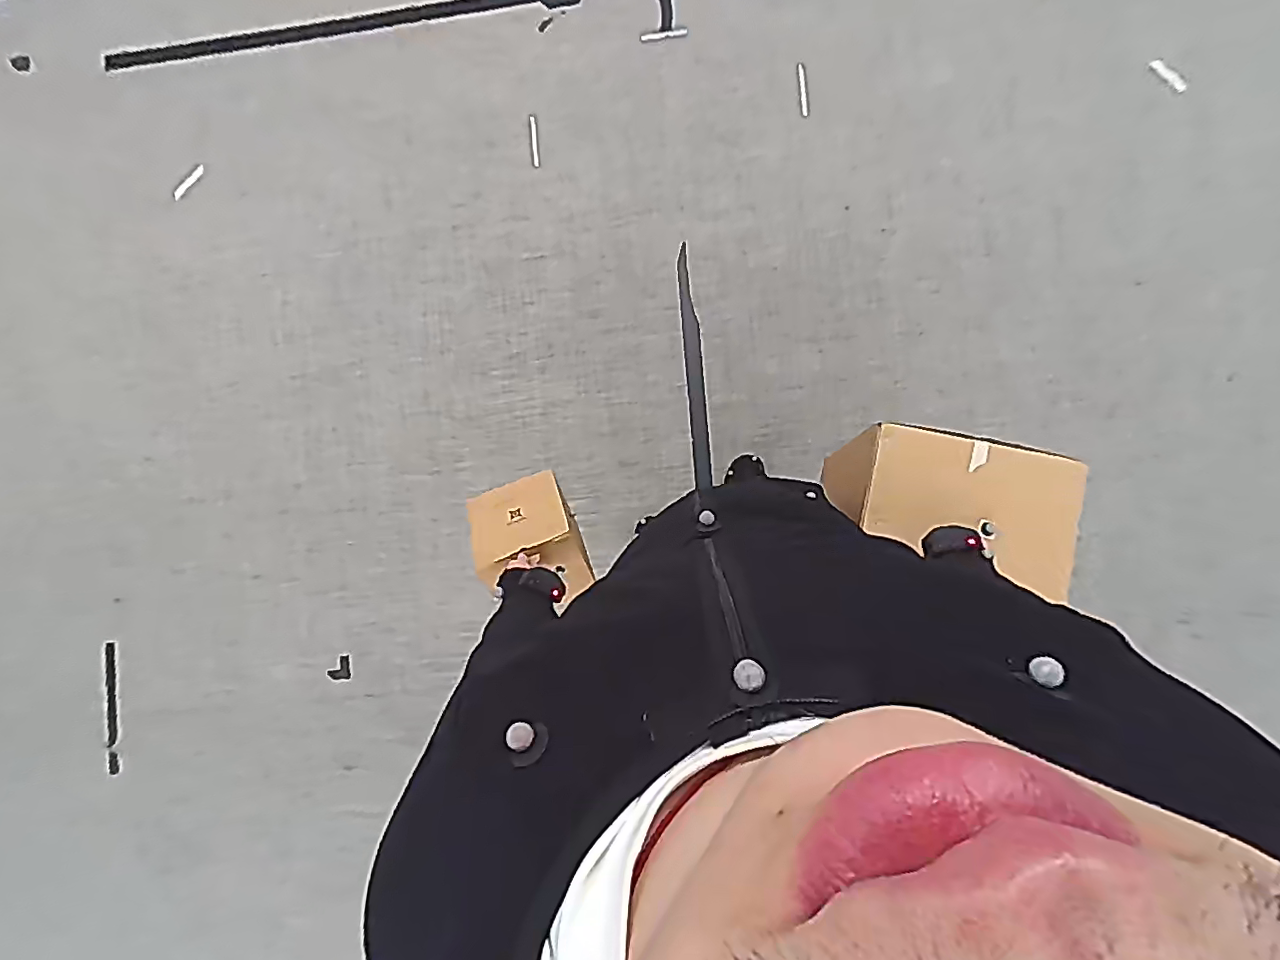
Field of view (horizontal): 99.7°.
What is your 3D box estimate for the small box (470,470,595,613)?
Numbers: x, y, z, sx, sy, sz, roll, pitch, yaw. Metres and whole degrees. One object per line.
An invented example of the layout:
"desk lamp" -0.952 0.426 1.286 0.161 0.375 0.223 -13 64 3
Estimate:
"small box" -0.194 0.119 0.992 0.168 0.179 0.176 -21 133 -5
